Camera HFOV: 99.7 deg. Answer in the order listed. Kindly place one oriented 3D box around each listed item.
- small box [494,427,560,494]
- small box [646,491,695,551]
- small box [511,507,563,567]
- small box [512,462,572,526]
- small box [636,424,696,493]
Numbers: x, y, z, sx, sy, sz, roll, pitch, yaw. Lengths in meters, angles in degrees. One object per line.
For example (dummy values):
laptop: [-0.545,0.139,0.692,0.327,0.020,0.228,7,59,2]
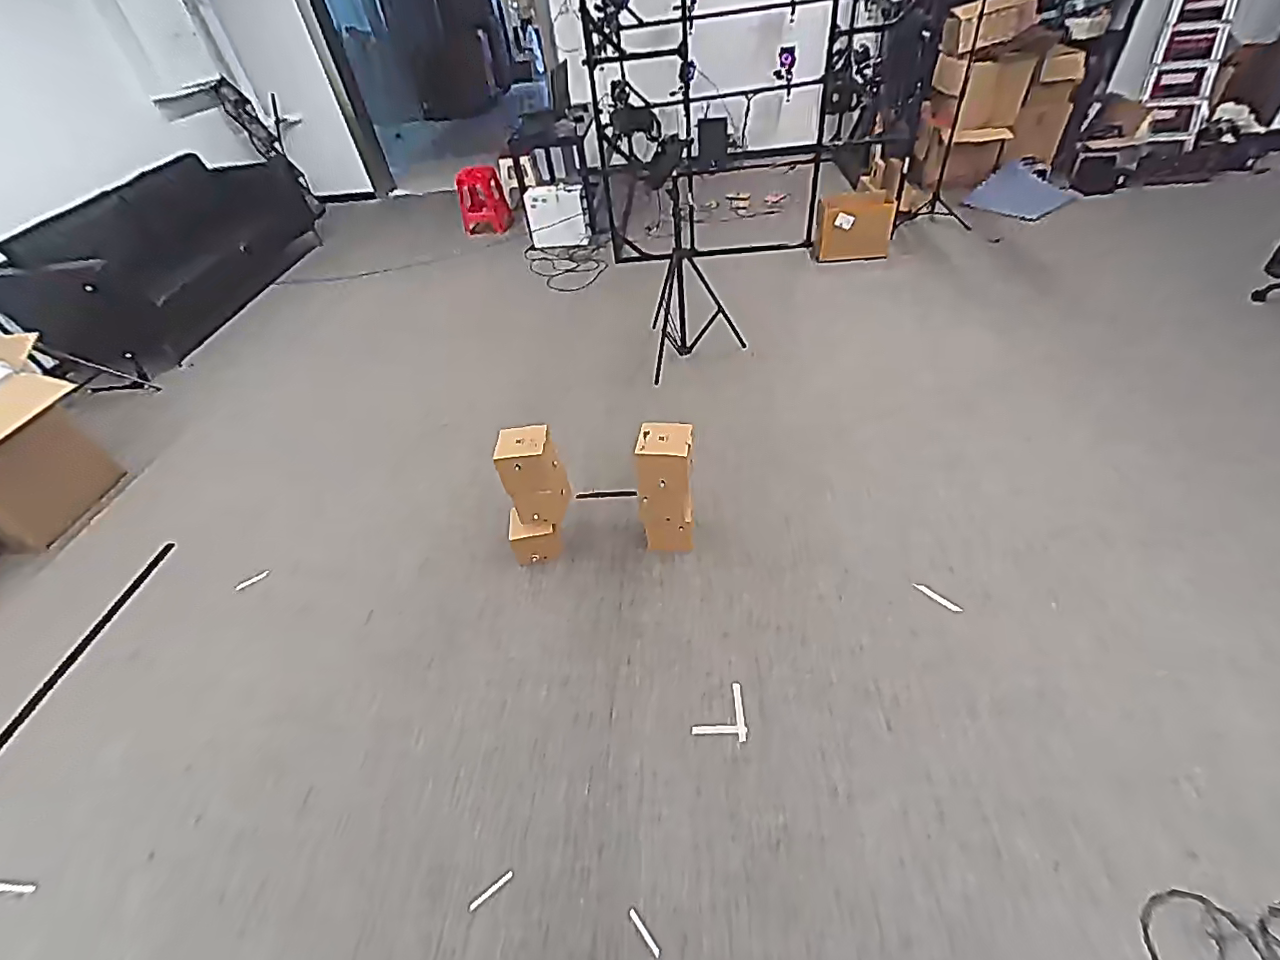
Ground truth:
small box: [-0.394,-0.066,1.916,0.179,0.176,0.168,-5,43,5]
small box: [0.121,0.161,2.073,0.179,0.176,0.168,-2,44,6]
small box: [-0.397,0.212,2.102,0.168,0.176,0.179,-10,44,-1]
small box: [-0.360,0.052,2.026,0.168,0.176,0.179,-1,44,10]
small box: [0.094,-0.071,1.843,0.179,0.176,0.168,4,44,11]
